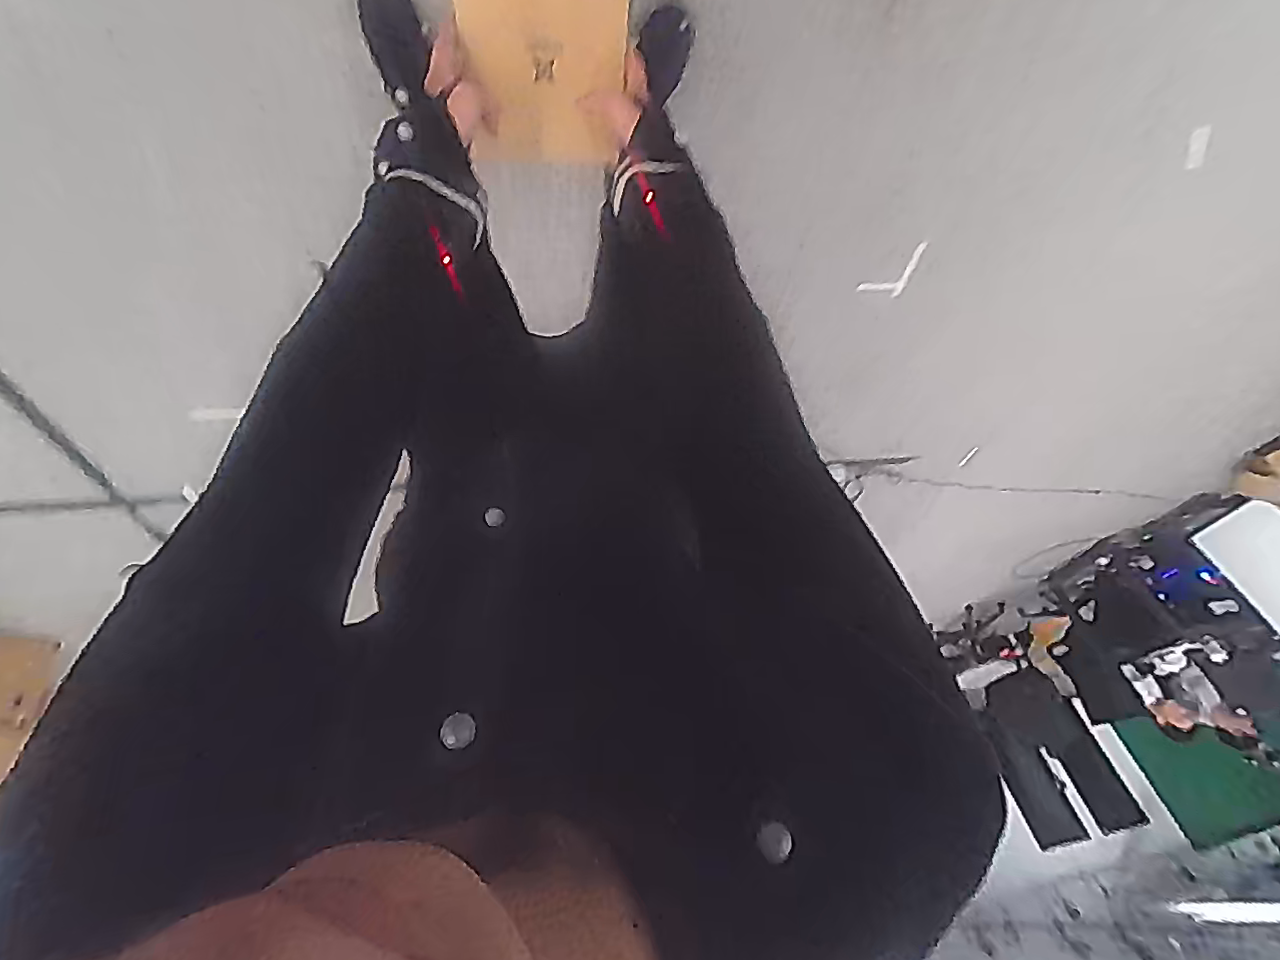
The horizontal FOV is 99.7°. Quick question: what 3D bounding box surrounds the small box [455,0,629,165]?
[{"bbox_3d":[-0.107,-0.474,0.599,0.168,0.176,0.179,-5,138,-10],"label":"small box"}]
